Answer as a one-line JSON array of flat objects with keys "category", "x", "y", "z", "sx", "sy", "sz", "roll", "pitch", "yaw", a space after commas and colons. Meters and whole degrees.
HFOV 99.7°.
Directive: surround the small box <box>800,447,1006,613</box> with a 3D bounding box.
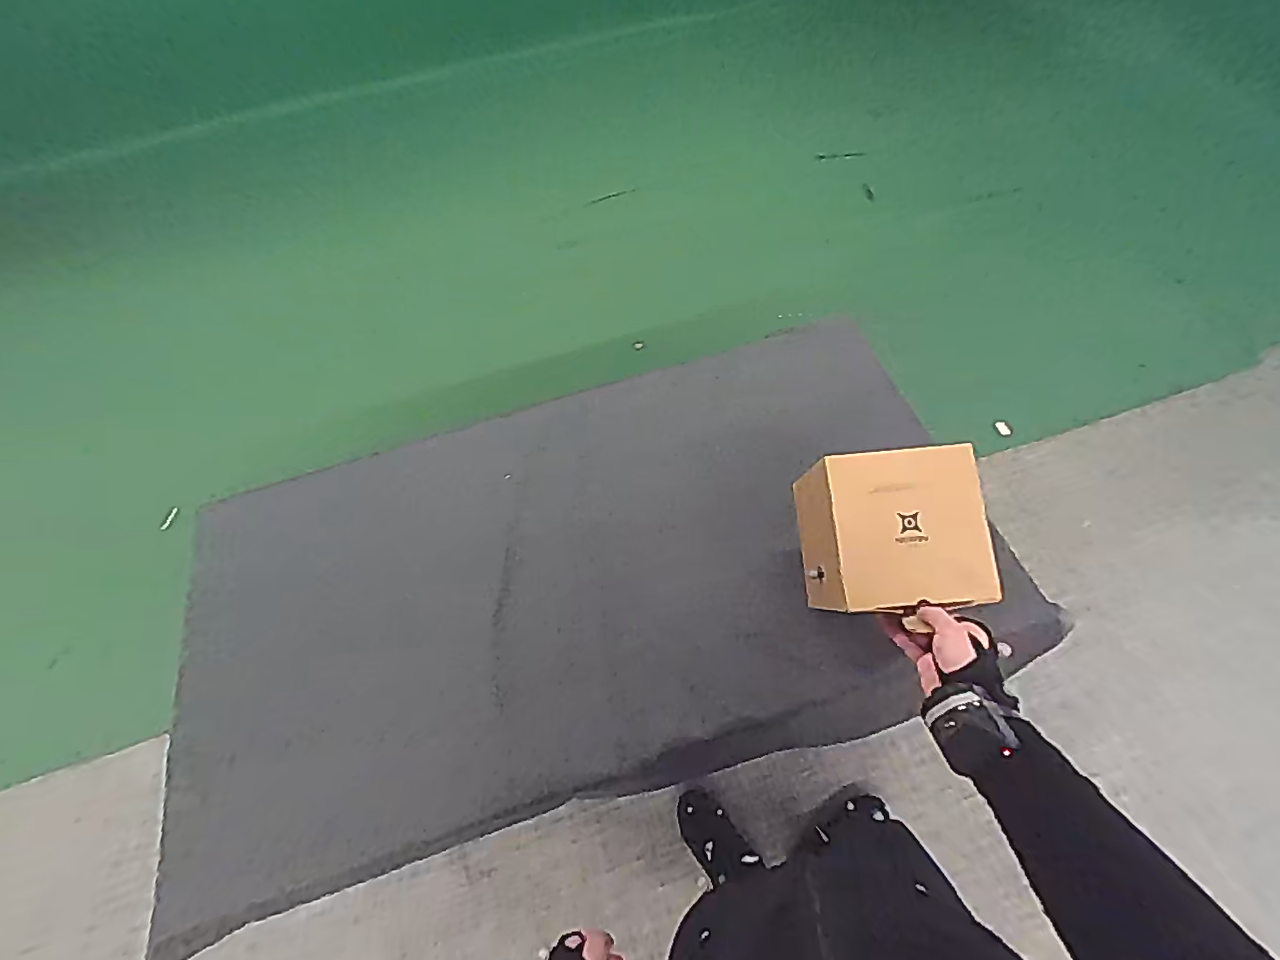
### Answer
[{"category": "small box", "x": 0.305, "y": 0.068, "z": 0.666, "sx": 0.168, "sy": 0.176, "sz": 0.179, "roll": -3, "pitch": 77, "yaw": 2}]
